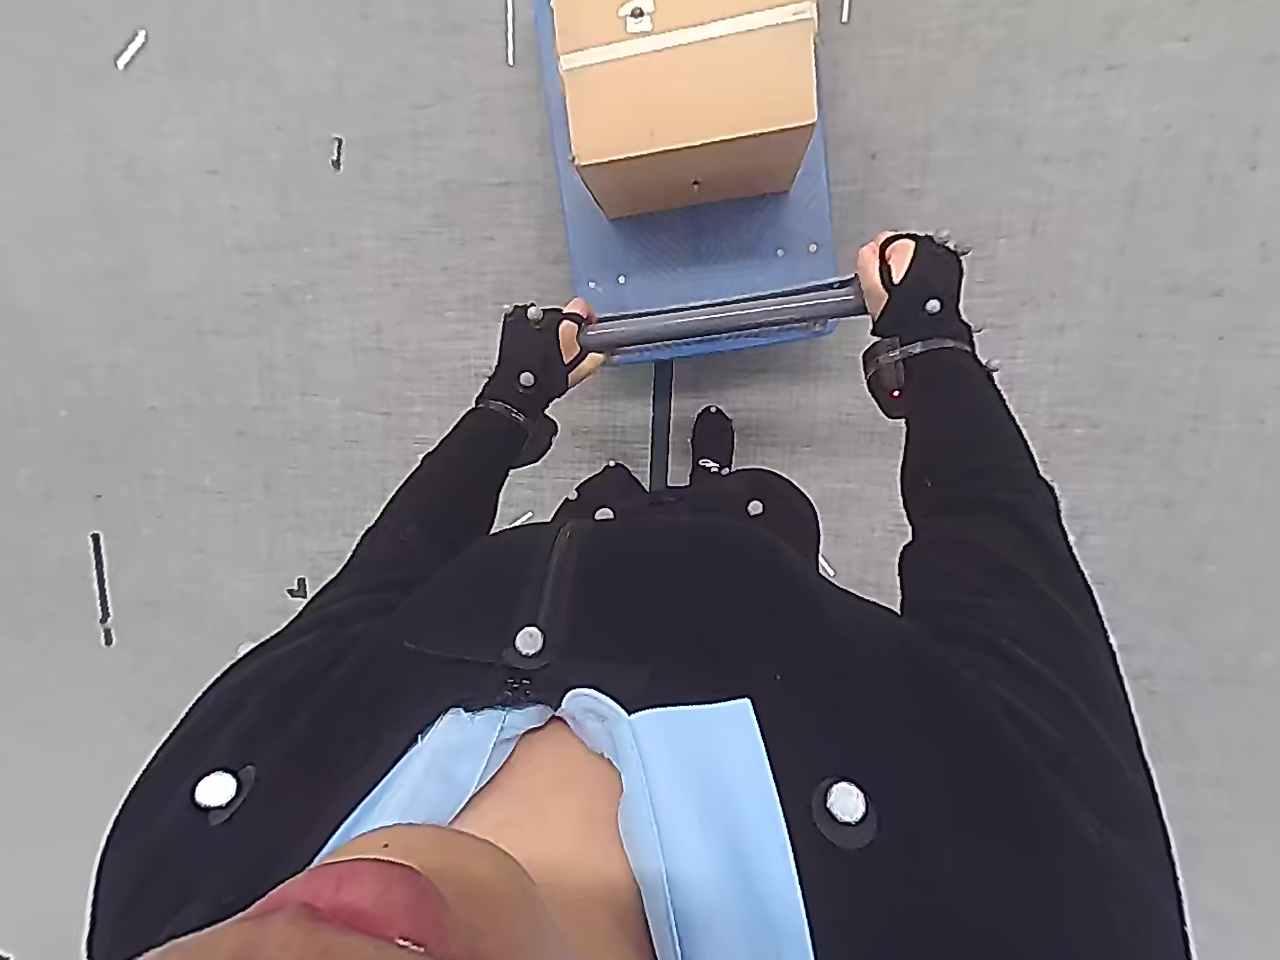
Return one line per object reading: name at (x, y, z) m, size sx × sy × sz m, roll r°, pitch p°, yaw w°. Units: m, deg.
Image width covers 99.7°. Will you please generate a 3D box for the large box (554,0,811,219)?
large box at (0.089, -0.732, 1.035) m, size 0.408 × 0.320 × 0.320 m, roll -5°, pitch 98°, yaw 9°
